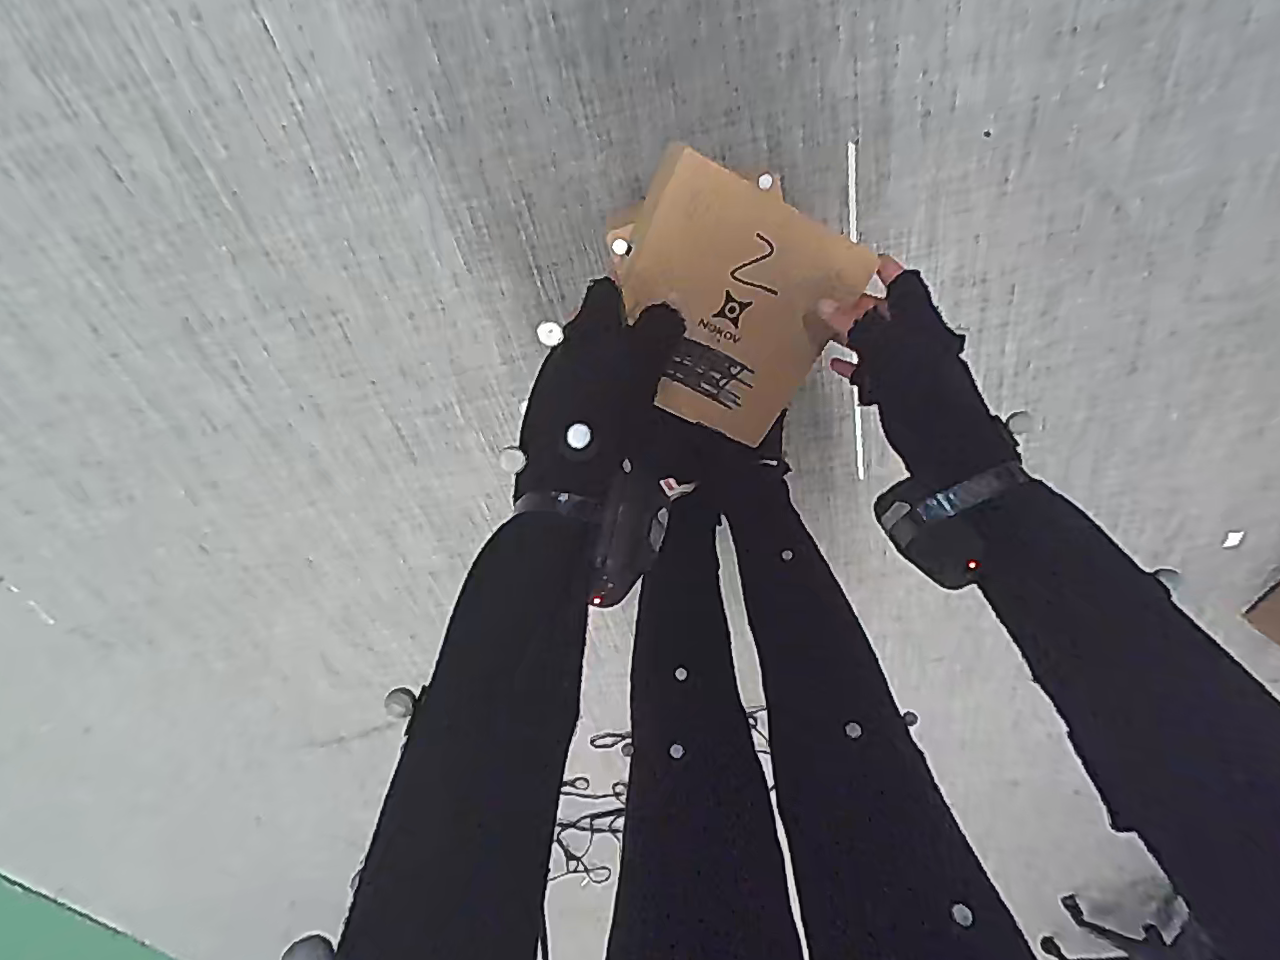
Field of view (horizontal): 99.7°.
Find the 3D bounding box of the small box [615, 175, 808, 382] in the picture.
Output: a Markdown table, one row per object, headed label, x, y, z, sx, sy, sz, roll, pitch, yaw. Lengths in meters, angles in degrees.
| label | x | y | z | sx | sy | sz | roll | pitch | yaw |
| --- | --- | --- | --- | --- | --- | --- | --- | --- | --- |
| small box | 0.077 | -0.240 | 0.629 | 0.179 | 0.176 | 0.168 | -15 | 120 | 9 |
